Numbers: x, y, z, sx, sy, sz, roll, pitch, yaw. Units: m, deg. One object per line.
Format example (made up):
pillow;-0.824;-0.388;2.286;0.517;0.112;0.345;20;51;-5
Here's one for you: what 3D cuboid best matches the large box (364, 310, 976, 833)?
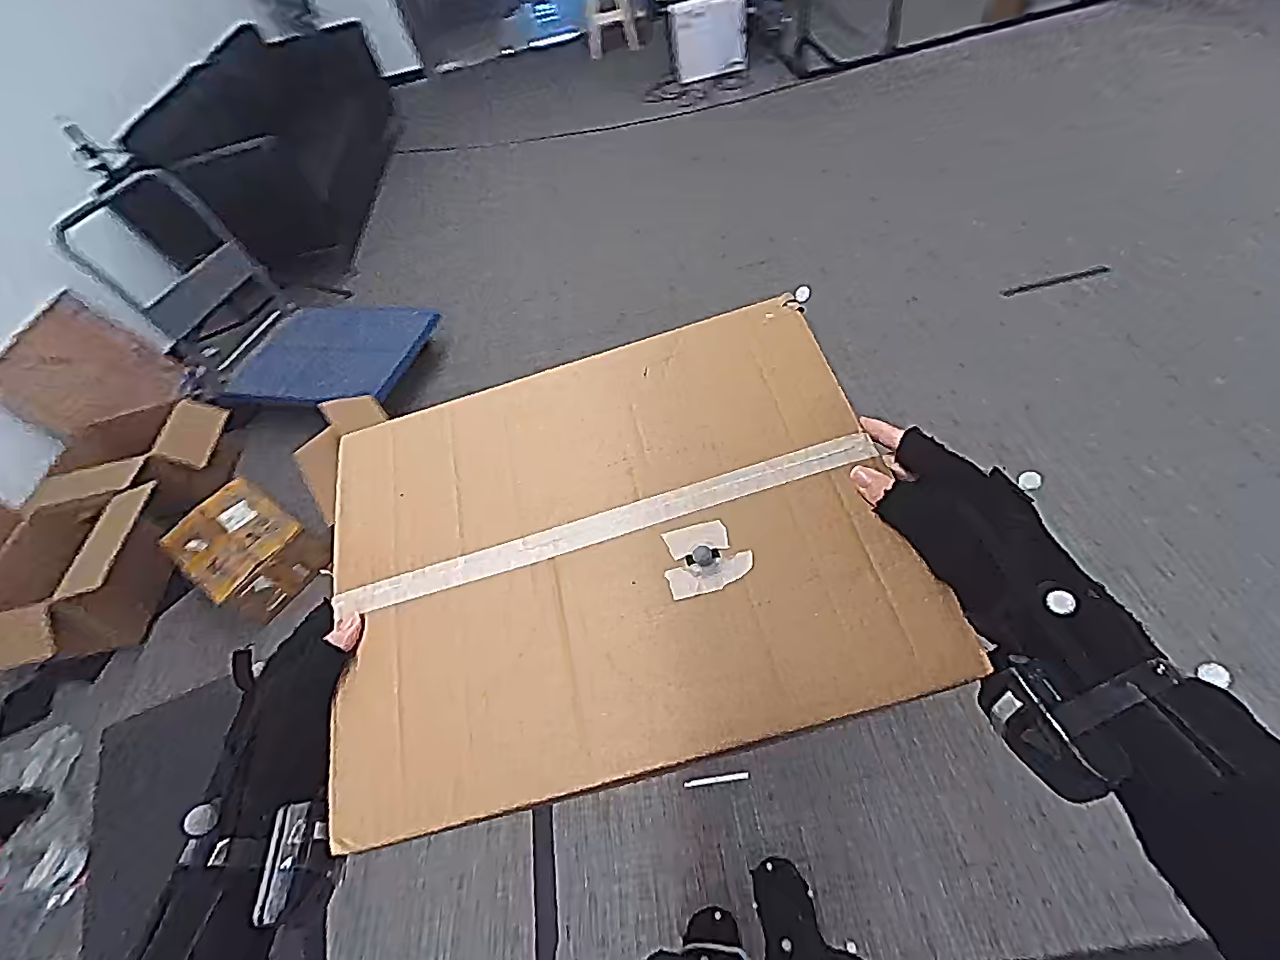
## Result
large box;0.006;0.104;0.534;0.408;0.320;0.320;-16;62;3
